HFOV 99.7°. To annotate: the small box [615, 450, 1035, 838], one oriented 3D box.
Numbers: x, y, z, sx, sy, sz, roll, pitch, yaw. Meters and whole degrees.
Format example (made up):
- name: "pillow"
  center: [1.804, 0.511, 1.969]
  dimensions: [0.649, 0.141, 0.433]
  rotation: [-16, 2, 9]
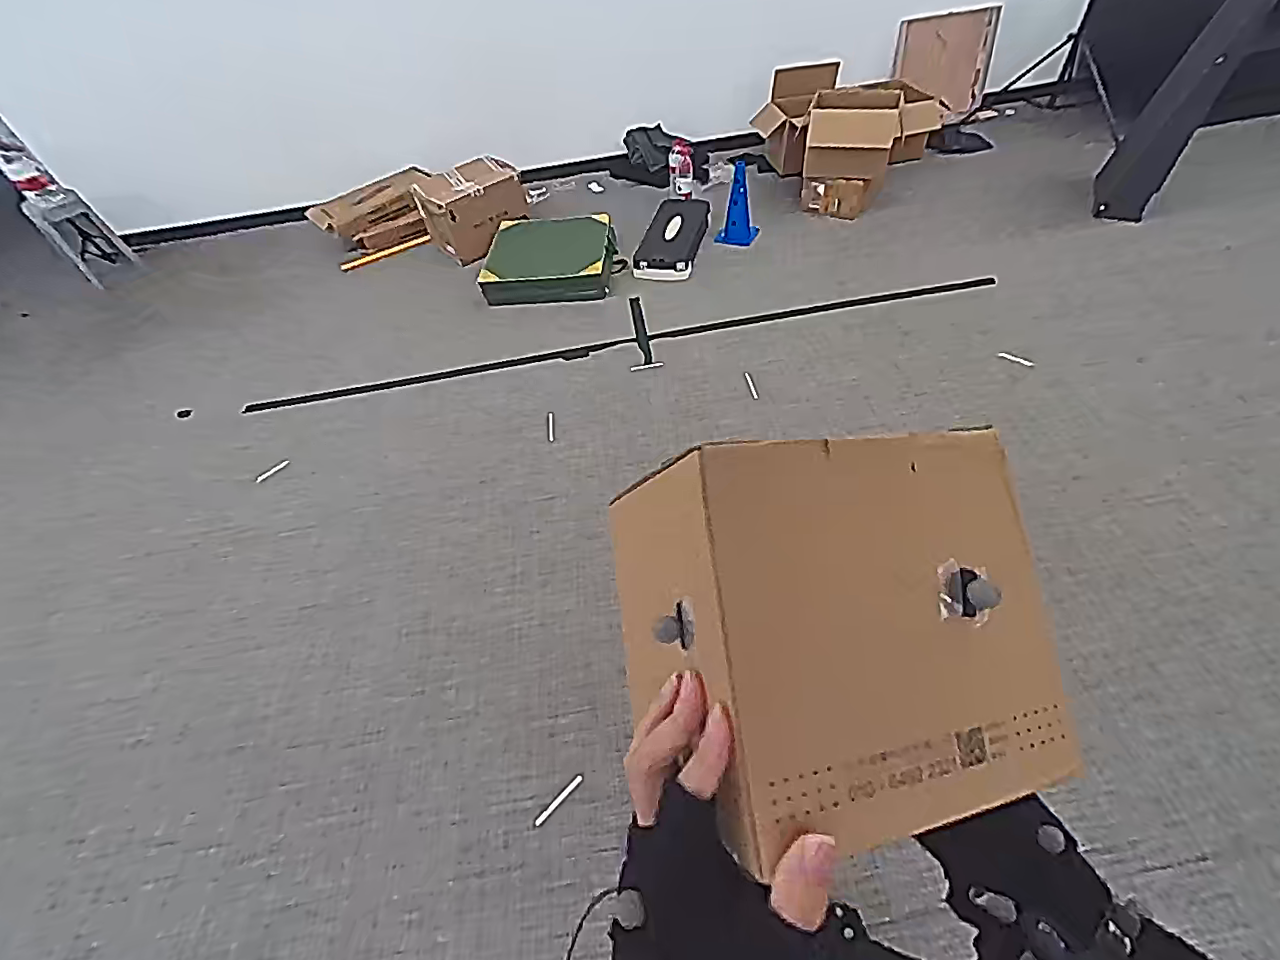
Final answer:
- name: "small box"
  center: [0.092, 0.088, 0.331]
  dimensions: [0.168, 0.179, 0.176]
  rotation: [-4, 80, -18]
